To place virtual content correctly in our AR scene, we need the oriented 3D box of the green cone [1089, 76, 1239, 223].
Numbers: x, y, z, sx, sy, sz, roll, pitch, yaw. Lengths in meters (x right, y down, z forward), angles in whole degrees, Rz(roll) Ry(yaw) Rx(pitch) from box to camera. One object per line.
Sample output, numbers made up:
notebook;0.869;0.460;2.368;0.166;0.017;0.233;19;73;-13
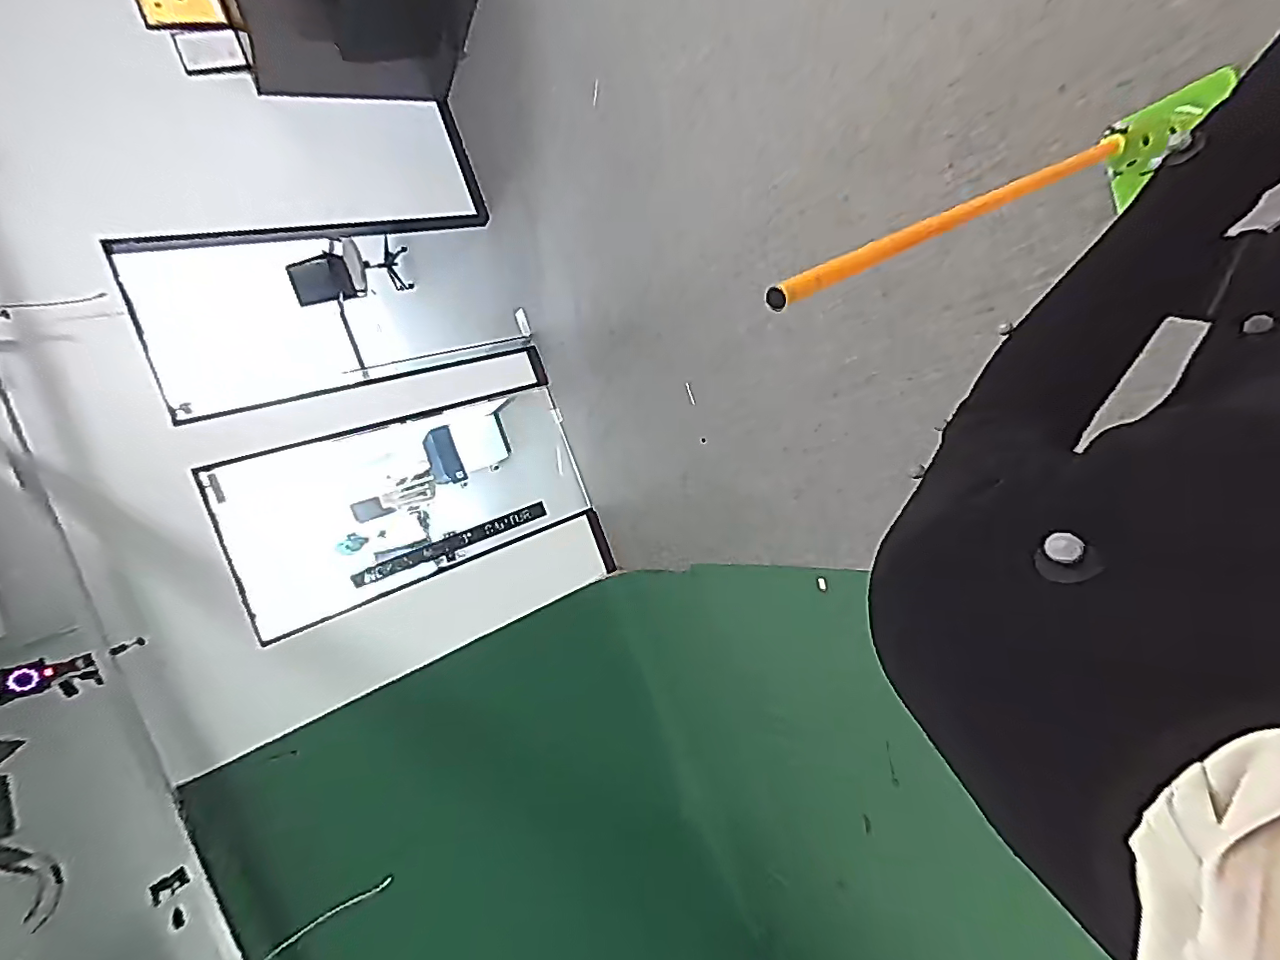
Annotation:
green cone;0.909;-0.599;0.994;0.202;0.368;0.200;-11;99;57
